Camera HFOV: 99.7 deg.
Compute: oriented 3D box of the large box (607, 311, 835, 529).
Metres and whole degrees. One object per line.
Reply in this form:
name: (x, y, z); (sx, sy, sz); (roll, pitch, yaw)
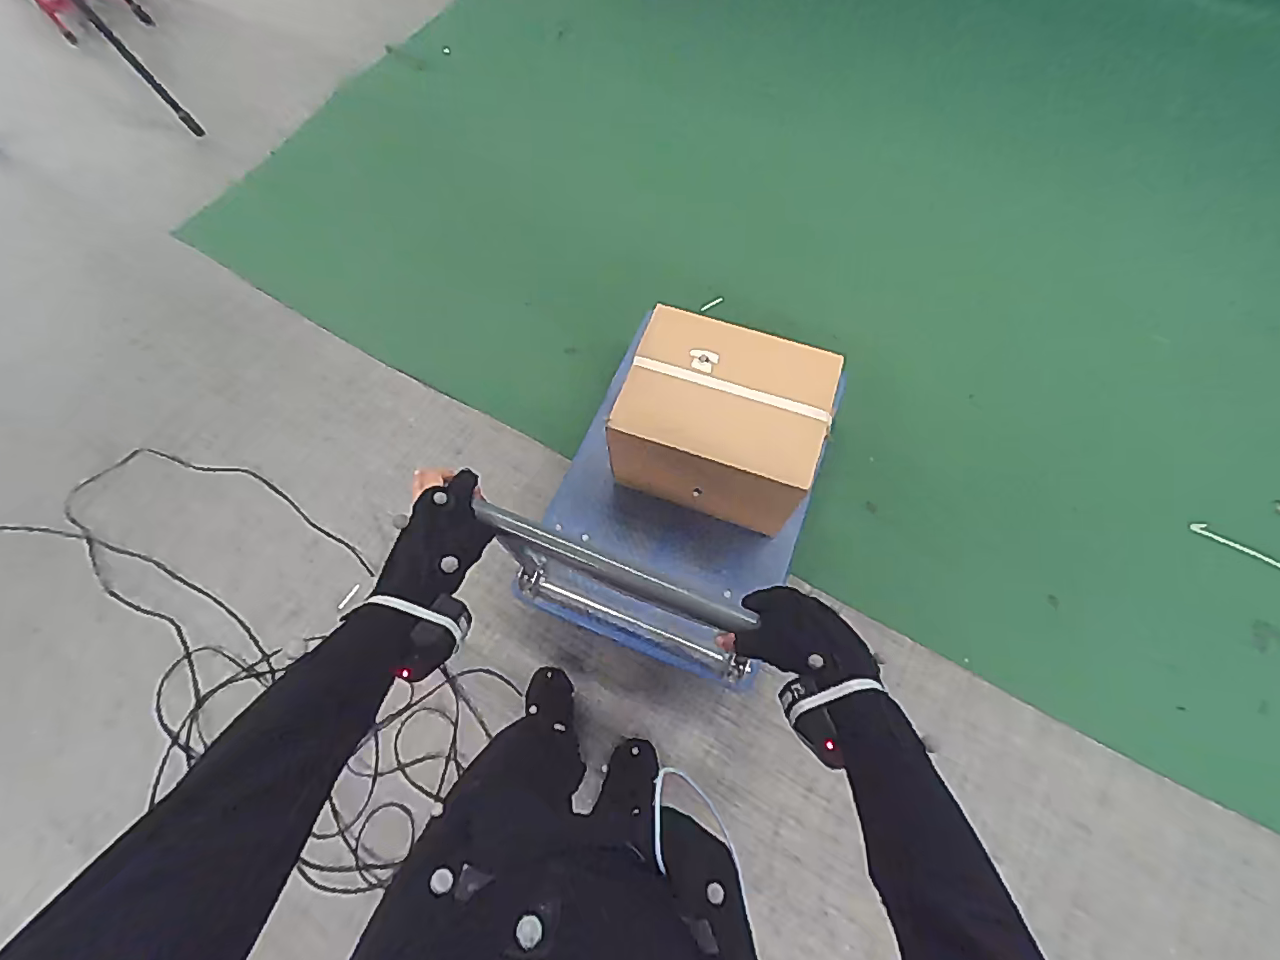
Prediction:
large box: (0.174, -0.121, 1.225); (0.408, 0.320, 0.320); (18, 69, 8)
